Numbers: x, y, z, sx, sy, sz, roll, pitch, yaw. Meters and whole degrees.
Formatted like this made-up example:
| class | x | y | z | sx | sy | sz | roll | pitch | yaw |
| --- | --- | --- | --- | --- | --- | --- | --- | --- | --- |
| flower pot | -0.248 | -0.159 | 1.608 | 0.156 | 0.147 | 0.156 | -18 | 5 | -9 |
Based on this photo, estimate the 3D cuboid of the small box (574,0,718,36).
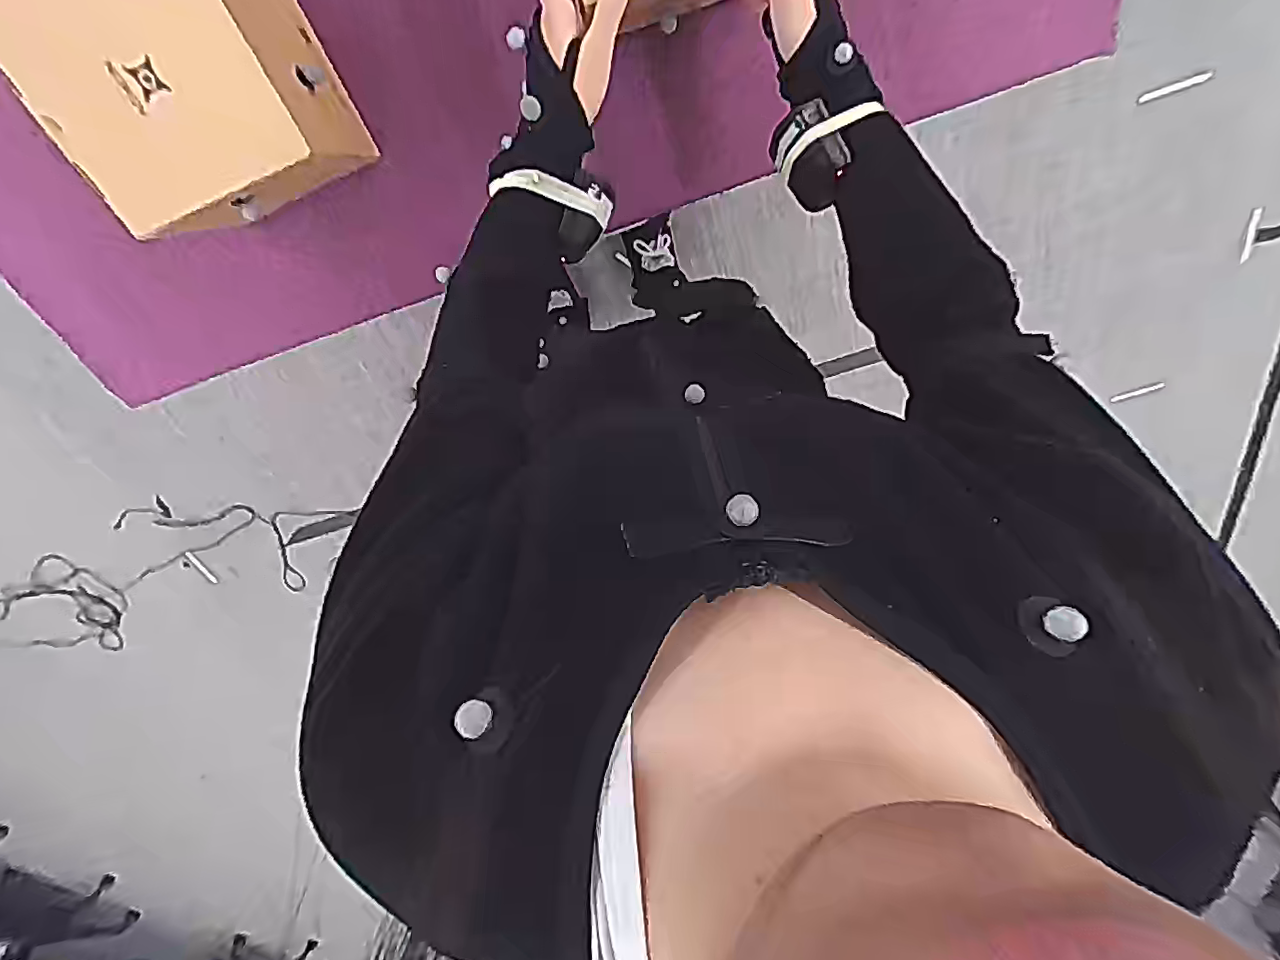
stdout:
| class | x | y | z | sx | sy | sz | roll | pitch | yaw |
| --- | --- | --- | --- | --- | --- | --- | --- | --- | --- |
| small box | 0.008 | -0.482 | 0.413 | 0.168 | 0.176 | 0.179 | -14 | 122 | 4 |

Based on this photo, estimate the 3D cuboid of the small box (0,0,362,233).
| class | x | y | z | sx | sy | sz | roll | pitch | yaw |
| --- | --- | --- | --- | --- | --- | --- | --- | --- | --- |
| small box | -0.373 | -0.339 | 0.467 | 0.179 | 0.176 | 0.168 | -20 | 121 | 8 |
